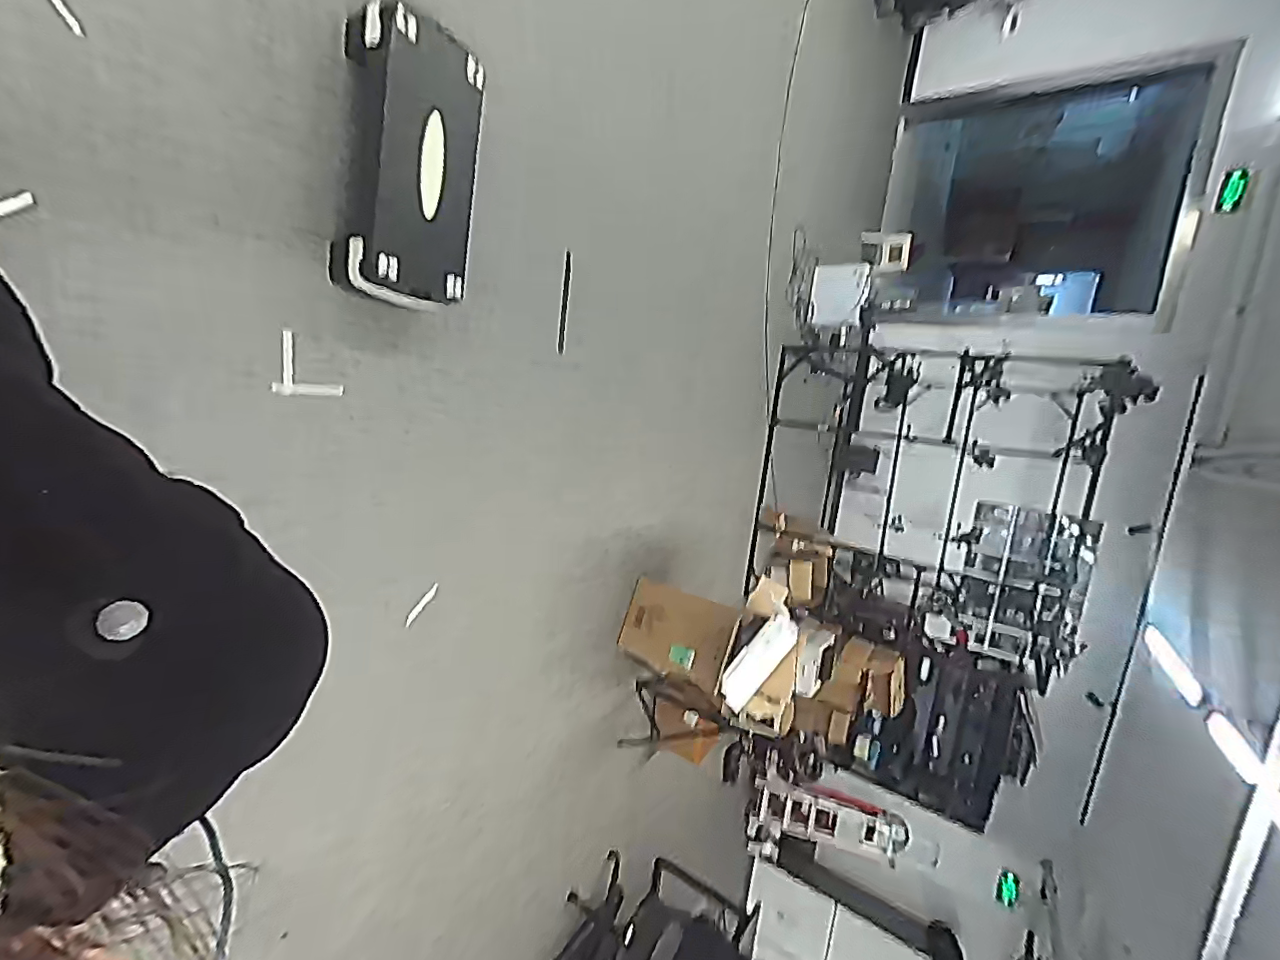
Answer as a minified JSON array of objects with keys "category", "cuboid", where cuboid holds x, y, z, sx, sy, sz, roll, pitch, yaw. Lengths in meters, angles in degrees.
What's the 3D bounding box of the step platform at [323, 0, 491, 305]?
[{"category":"step platform","cuboid":[-0.603,-0.830,1.431,0.286,0.204,0.684,7,93,-57]}]
